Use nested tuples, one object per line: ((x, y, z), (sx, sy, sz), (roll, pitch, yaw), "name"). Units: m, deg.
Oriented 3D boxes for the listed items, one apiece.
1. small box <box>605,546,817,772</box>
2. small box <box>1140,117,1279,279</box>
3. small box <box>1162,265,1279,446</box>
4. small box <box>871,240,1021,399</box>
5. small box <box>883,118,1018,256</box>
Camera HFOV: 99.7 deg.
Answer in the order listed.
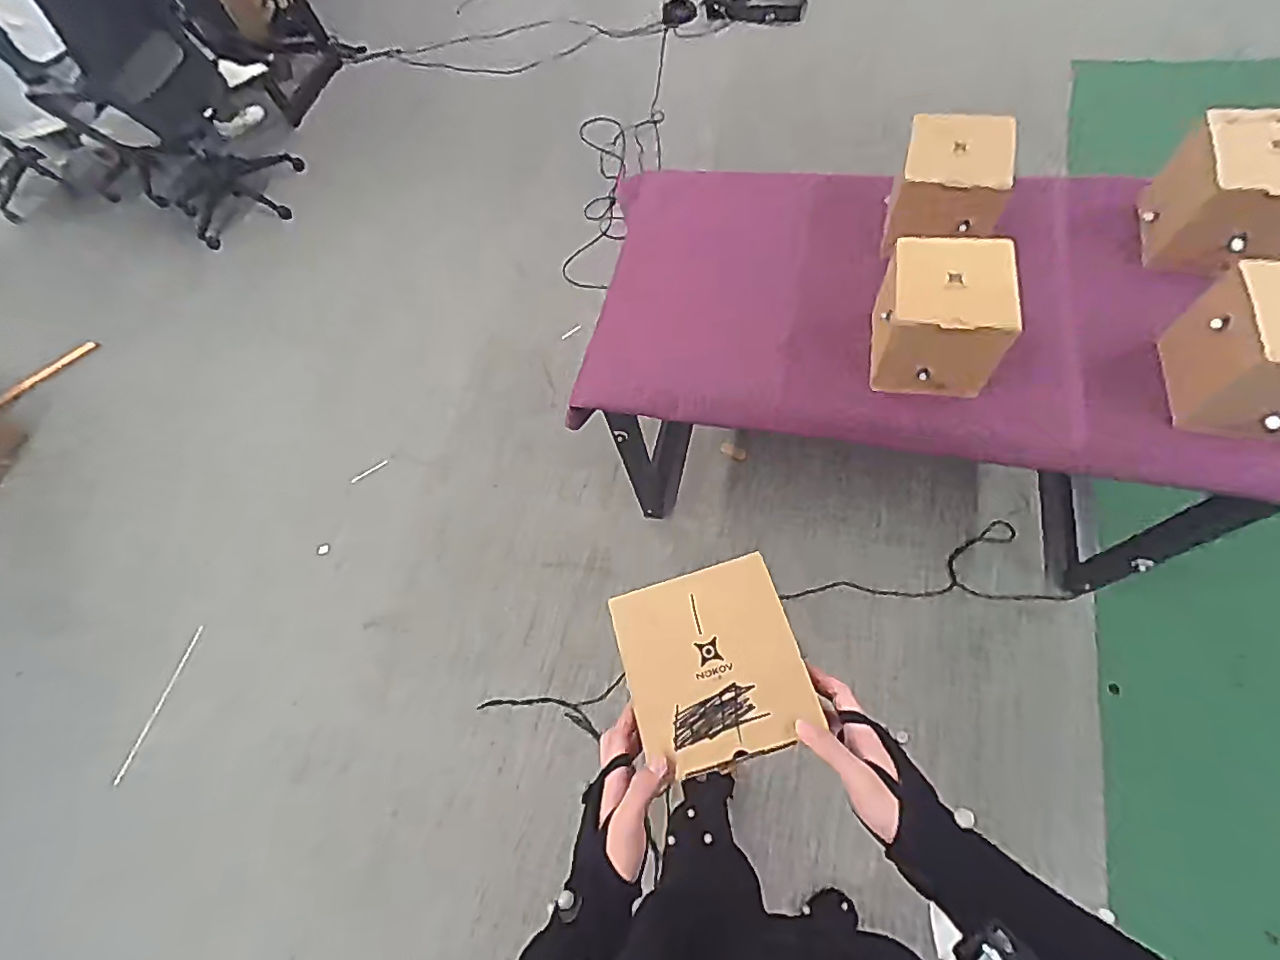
((0.075, 0.196, 0.588), (0.168, 0.176, 0.179), (-17, 63, 2), "small box")
((0.964, -0.452, 0.880), (0.168, 0.176, 0.179), (11, 70, 15), "small box")
((0.887, -0.171, 0.758), (0.168, 0.176, 0.179), (9, 66, 16), "small box")
((0.479, -0.255, 0.873), (0.168, 0.176, 0.179), (8, 66, 13), "small box")
((0.556, -0.519, 0.986), (0.168, 0.176, 0.179), (13, 68, 15), "small box")
